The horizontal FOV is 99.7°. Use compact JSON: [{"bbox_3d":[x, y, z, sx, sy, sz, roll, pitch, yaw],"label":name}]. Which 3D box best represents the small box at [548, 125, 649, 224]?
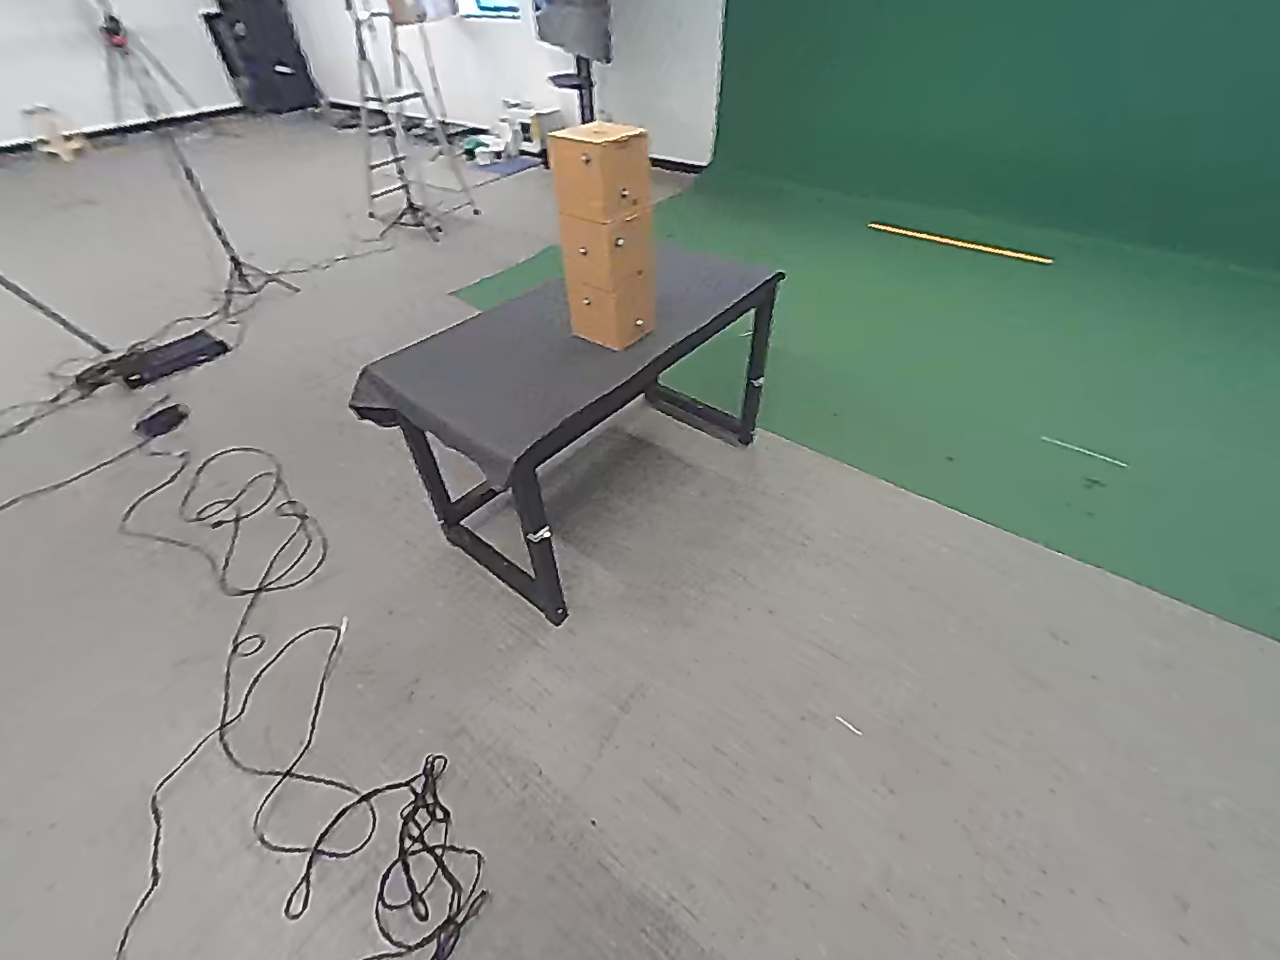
[{"bbox_3d":[-0.095,-0.729,1.290,0.179,0.176,0.168,30,52,30],"label":"small box"}]

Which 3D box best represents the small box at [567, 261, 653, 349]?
[{"bbox_3d":[-0.080,-0.487,1.509,0.179,0.176,0.168,28,52,27],"label":"small box"}]
